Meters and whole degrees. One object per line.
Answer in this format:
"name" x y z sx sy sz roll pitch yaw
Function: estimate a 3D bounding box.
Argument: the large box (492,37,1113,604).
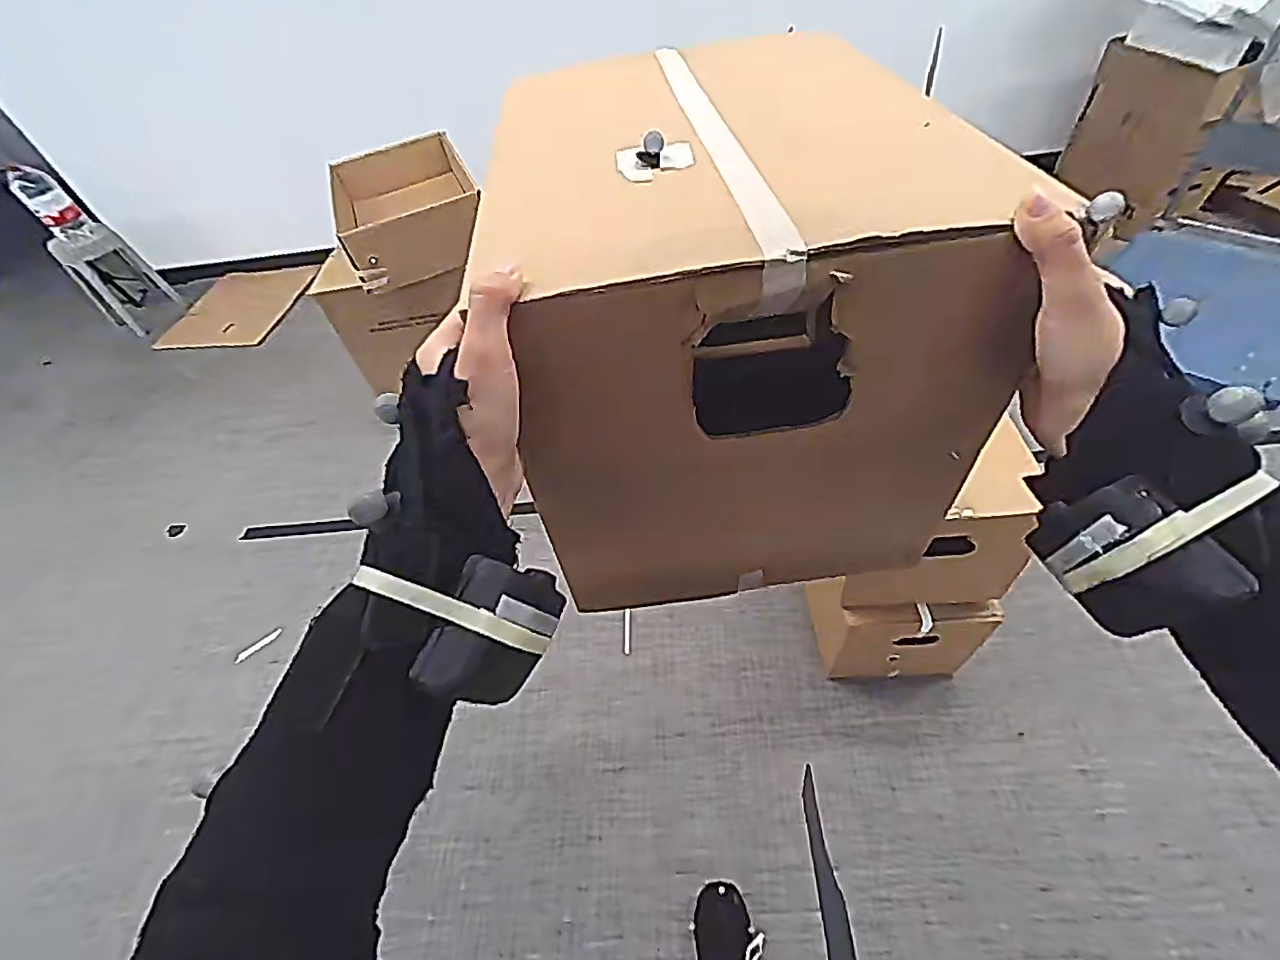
"large box" 0.067 -0.153 0.498 0.320 0.320 0.408 -10 50 0
